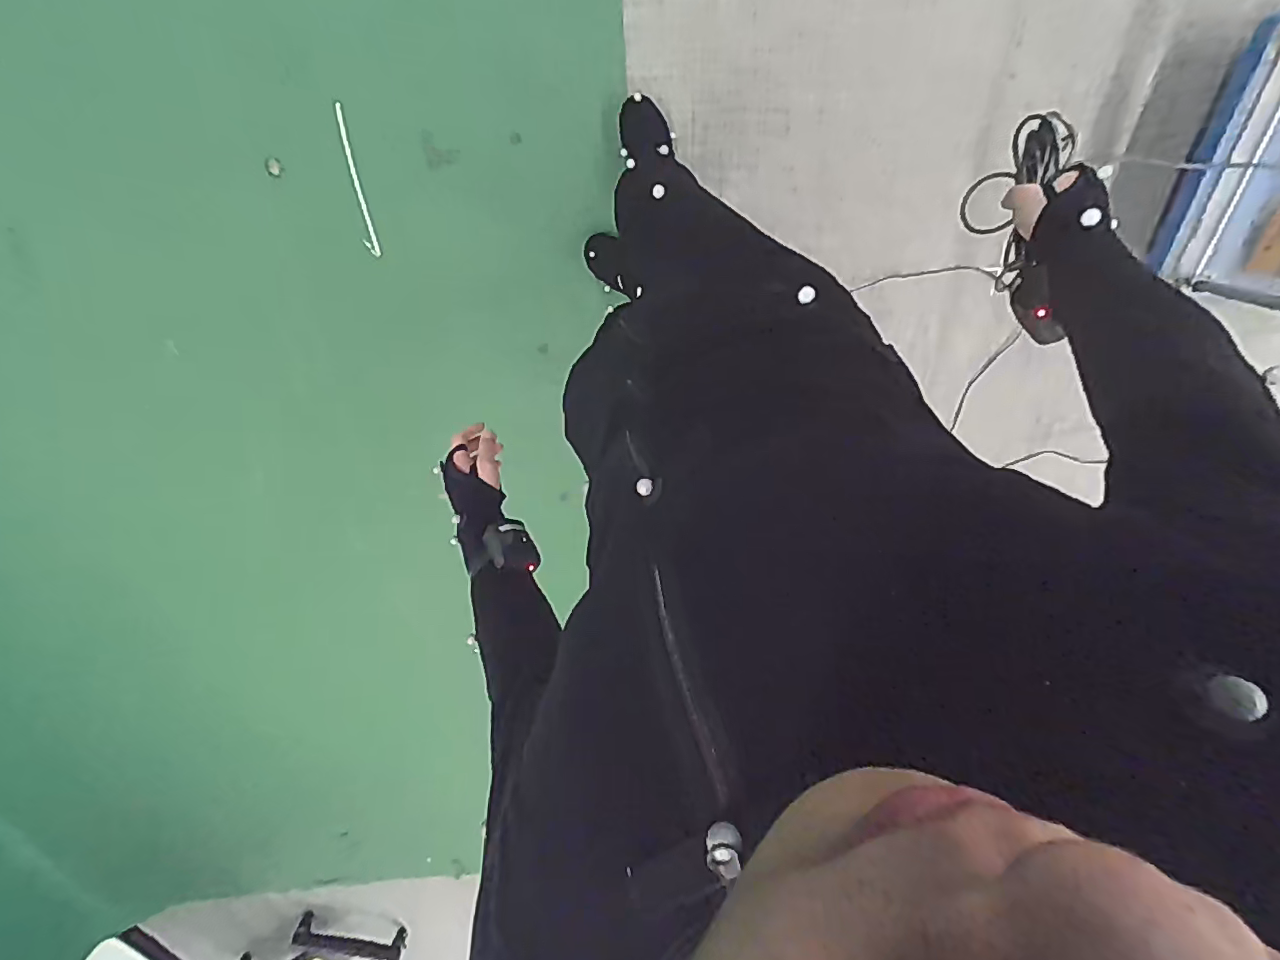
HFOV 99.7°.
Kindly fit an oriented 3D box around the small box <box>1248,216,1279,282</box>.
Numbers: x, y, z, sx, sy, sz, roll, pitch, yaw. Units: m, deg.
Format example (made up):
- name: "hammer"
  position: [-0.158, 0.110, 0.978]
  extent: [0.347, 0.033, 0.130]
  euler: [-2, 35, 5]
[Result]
- name: "small box"
  position: [1.607, -0.541, 1.248]
  extent: [0.179, 0.176, 0.168]
  euler: [0, 121, -3]
